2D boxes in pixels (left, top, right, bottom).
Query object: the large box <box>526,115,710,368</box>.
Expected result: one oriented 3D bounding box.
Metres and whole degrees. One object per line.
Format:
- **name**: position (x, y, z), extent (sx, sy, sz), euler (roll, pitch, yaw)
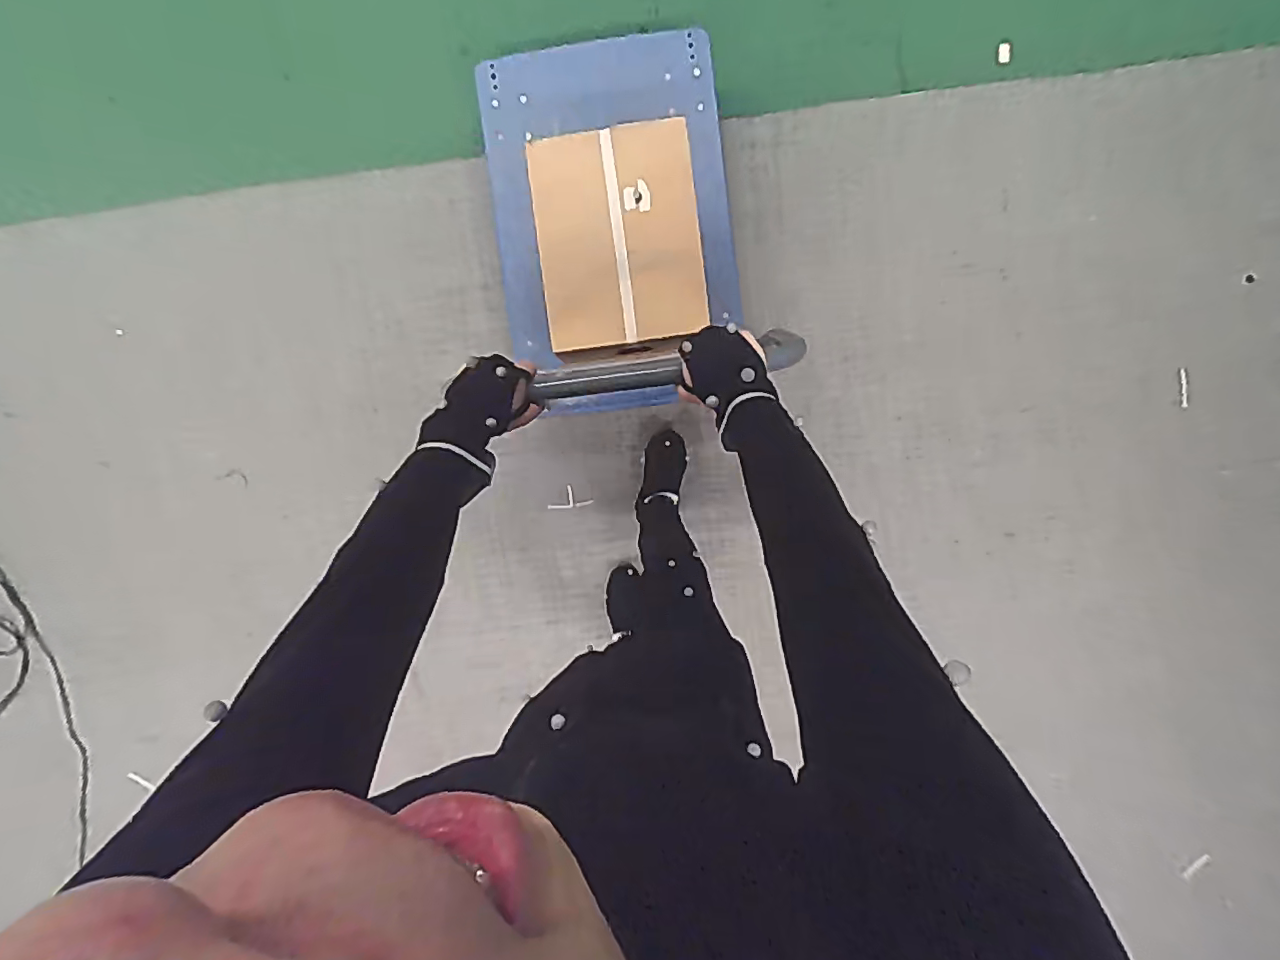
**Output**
- **large box**: position (-0.035, -0.484, 1.186), extent (0.320, 0.320, 0.408), euler (-7, 94, 2)
